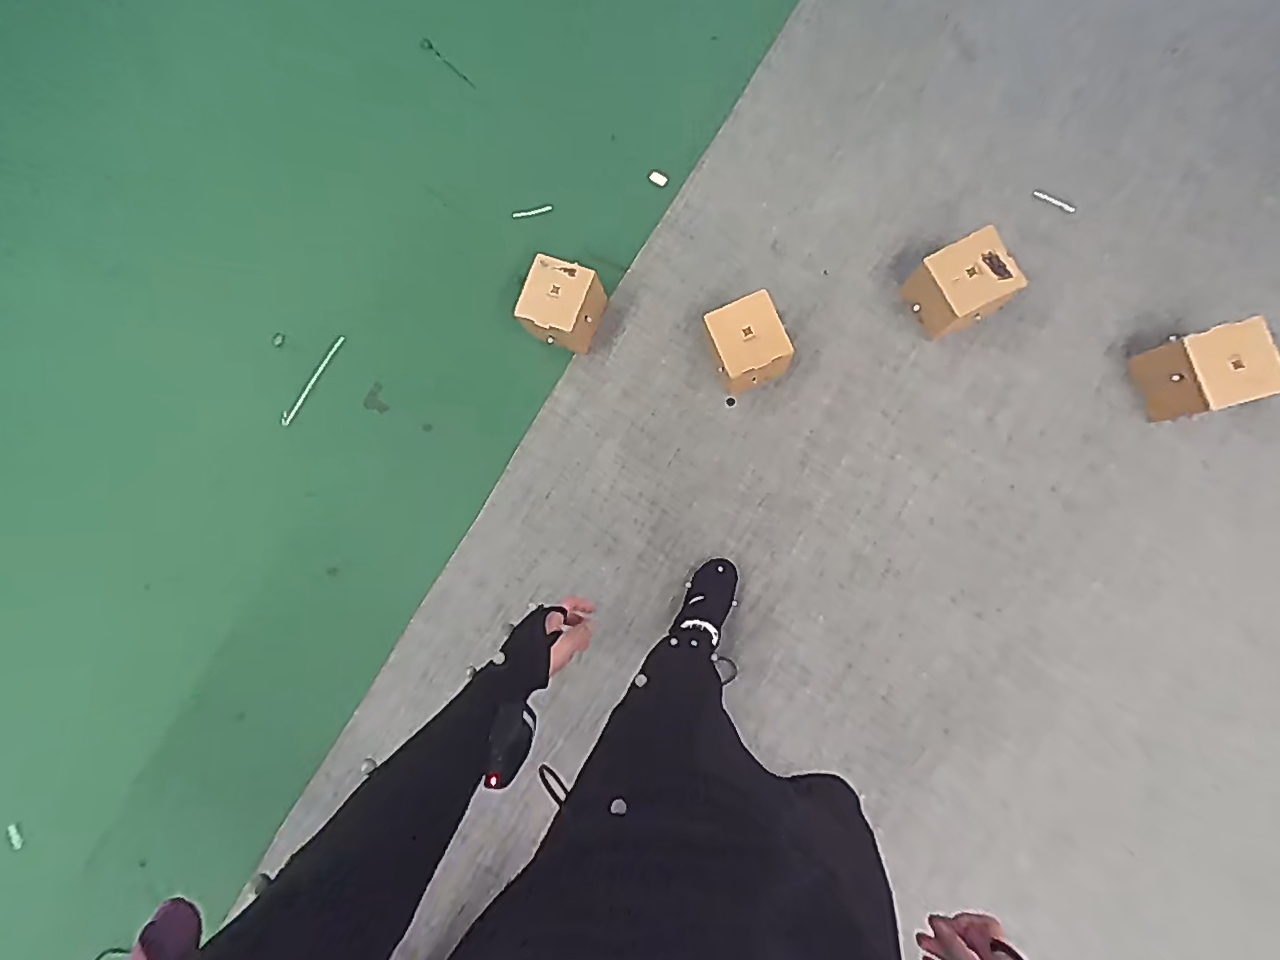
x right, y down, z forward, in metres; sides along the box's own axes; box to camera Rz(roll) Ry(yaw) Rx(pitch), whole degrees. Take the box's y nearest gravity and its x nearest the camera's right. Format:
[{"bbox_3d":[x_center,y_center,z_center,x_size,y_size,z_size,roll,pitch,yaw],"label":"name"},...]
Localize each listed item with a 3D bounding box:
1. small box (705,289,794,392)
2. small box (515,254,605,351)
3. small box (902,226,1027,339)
[{"bbox_3d":[0.271,-0.349,1.384,0.168,0.176,0.179,-23,84,4],"label":"small box"},{"bbox_3d":[-0.205,-0.468,1.453,0.168,0.176,0.179,21,88,8],"label":"small box"},{"bbox_3d":[0.786,-0.478,1.331,0.179,0.176,0.168,-26,82,5],"label":"small box"}]
